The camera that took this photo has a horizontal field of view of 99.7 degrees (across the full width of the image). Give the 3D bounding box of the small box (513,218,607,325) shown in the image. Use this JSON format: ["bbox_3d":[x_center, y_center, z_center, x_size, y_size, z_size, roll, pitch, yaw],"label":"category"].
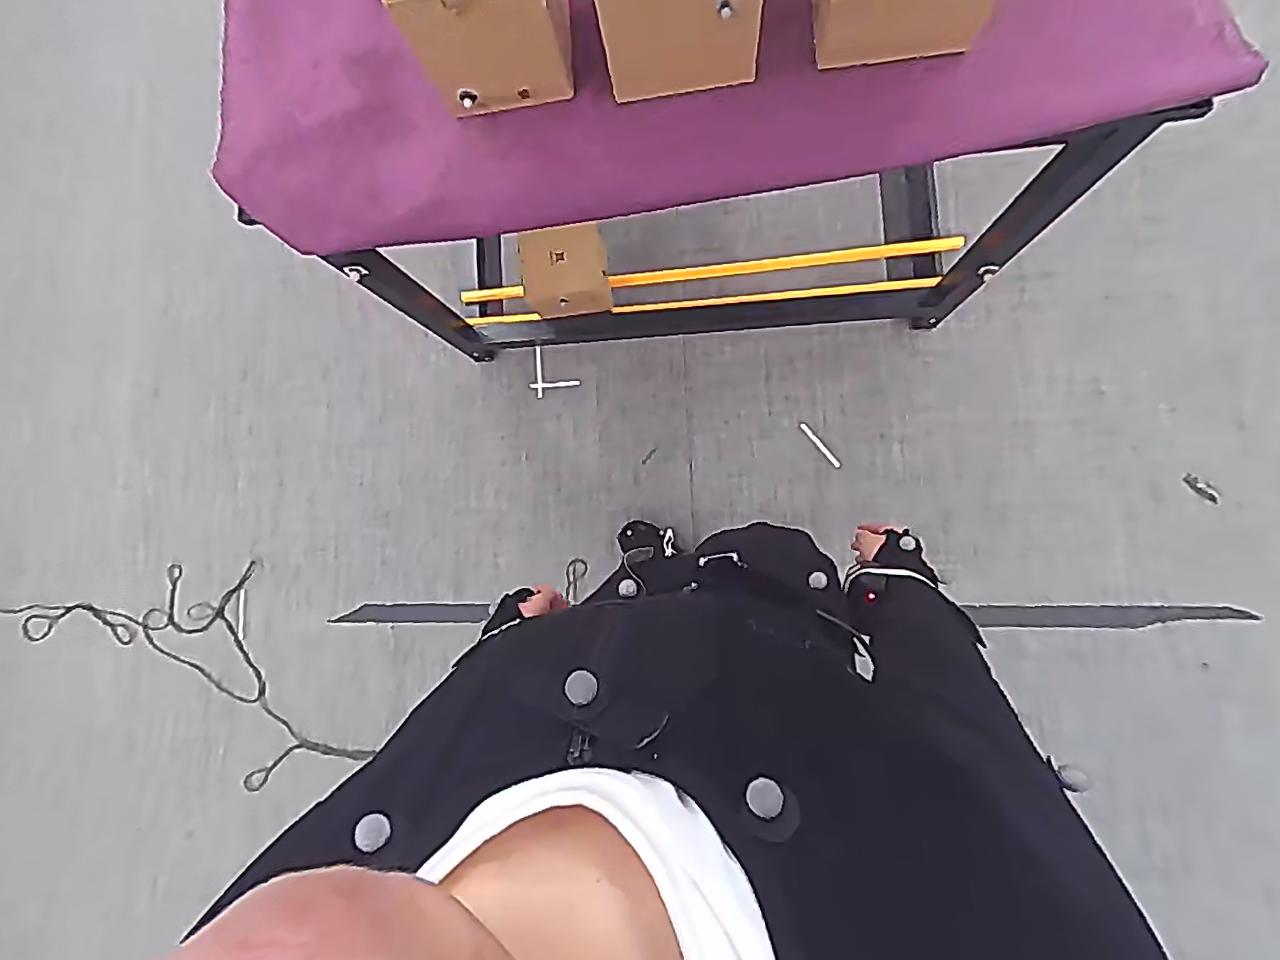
[{"bbox_3d":[-0.176,-0.474,1.251,0.179,0.176,0.168,-7,87,7],"label":"small box"}]
